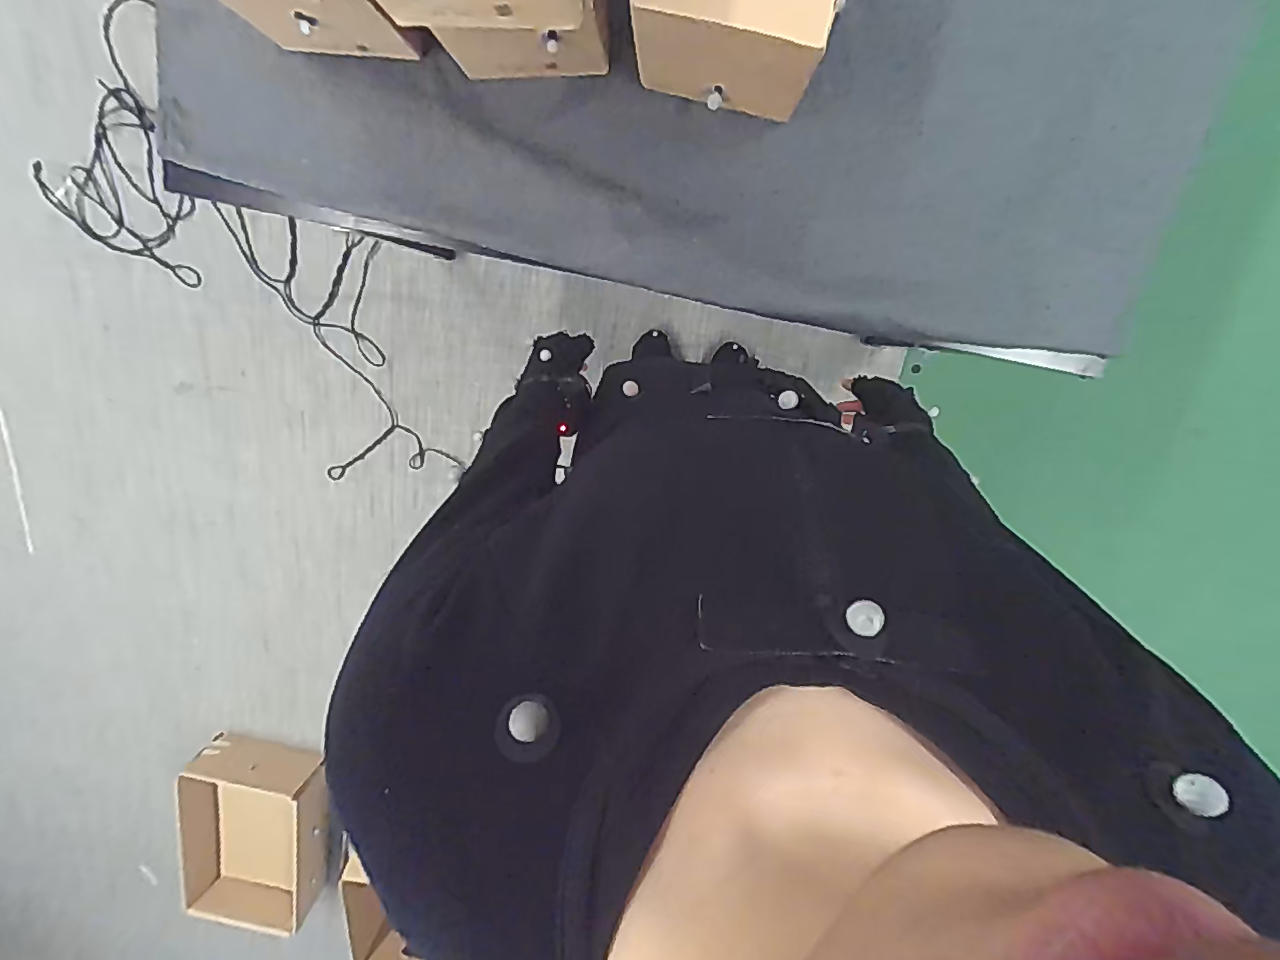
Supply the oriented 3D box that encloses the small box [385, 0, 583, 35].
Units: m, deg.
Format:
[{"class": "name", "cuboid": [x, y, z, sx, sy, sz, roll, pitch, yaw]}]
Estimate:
[{"class": "small box", "cuboid": [-0.132, -0.455, 0.380, 0.168, 0.176, 0.179, 3, 105, 2]}]
